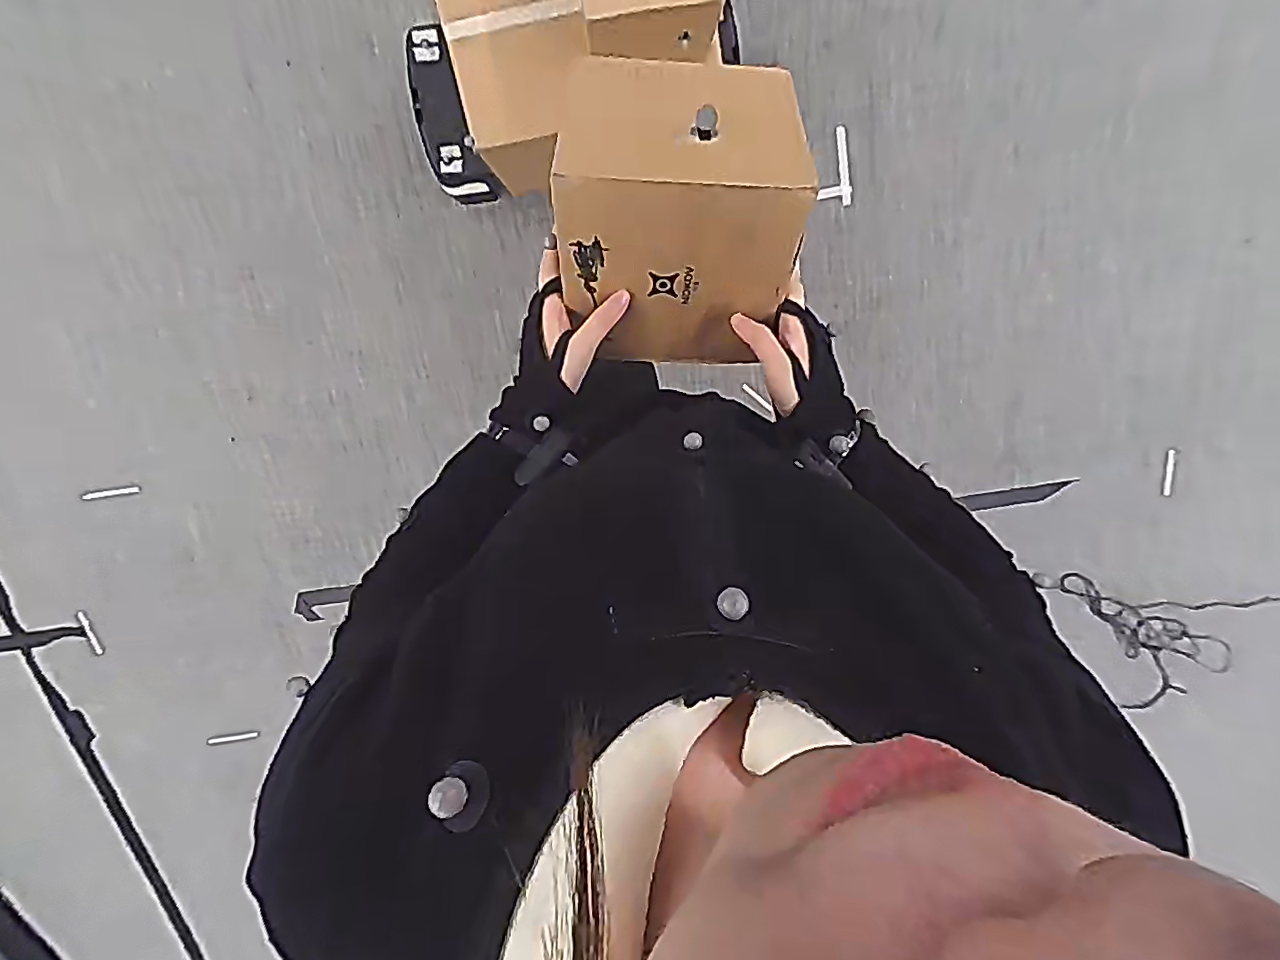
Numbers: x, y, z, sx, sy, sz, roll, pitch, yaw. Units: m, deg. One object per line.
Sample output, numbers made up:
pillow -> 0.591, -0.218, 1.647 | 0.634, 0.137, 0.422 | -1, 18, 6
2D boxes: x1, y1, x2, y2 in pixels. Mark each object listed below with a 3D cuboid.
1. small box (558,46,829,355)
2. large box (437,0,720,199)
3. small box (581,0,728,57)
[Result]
small box -> 0.030, -0.224, 0.446 | 0.179, 0.176, 0.168 | 2, 148, -2
large box -> -0.094, -0.726, 0.941 | 0.408, 0.320, 0.320 | -11, 105, 2
small box -> 0.008, -0.664, 0.707 | 0.179, 0.176, 0.168 | -8, 106, 0
